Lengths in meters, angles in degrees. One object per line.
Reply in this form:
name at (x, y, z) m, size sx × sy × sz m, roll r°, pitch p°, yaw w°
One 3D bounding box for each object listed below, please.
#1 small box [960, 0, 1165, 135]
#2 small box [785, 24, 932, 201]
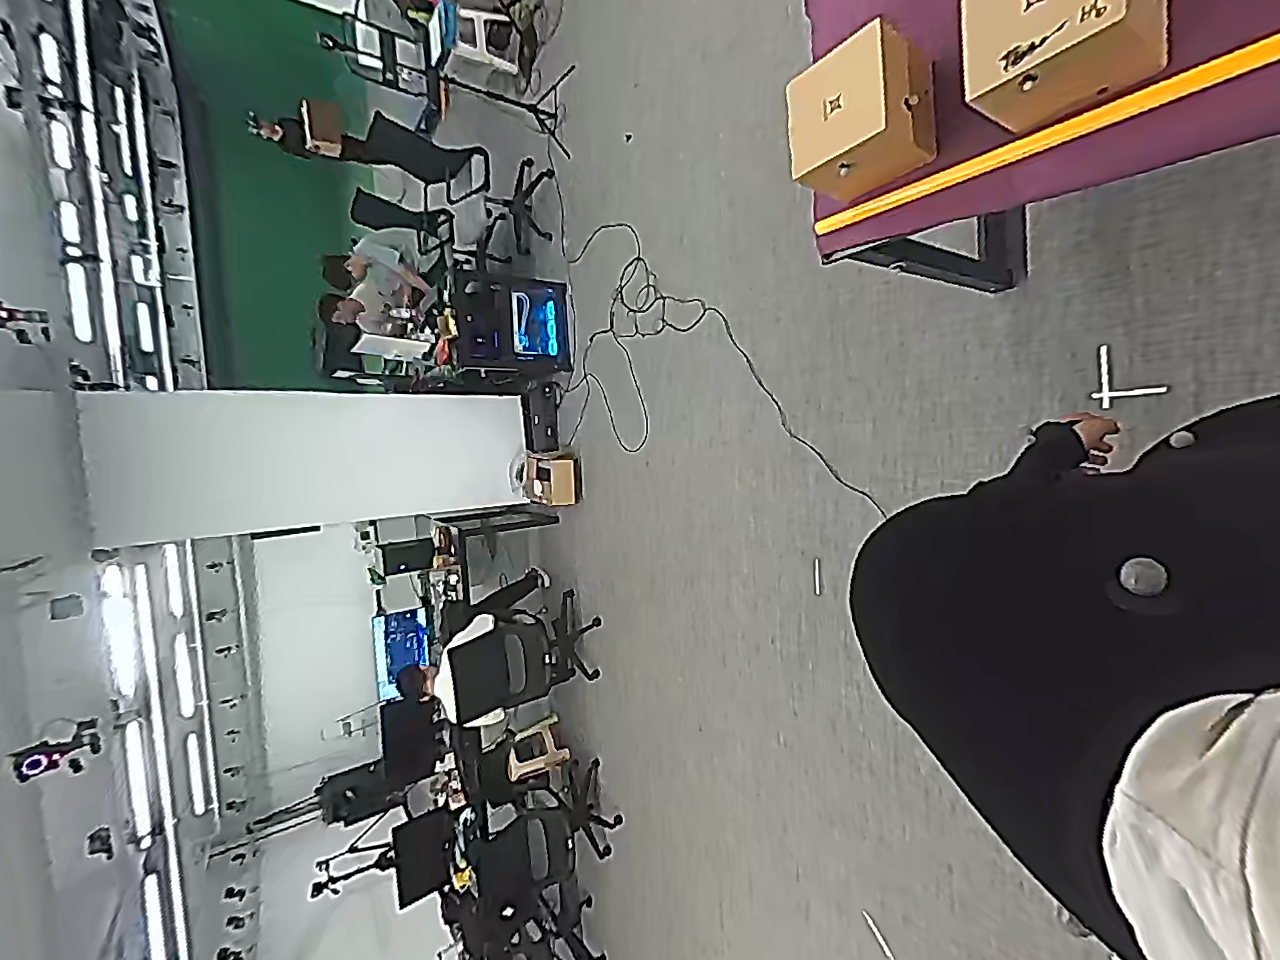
small box at (0.531, -0.583, 0.685) m, size 0.168 × 0.176 × 0.179 m, roll 2°, pitch 96°, yaw 56°
small box at (0.373, -0.602, 0.914) m, size 0.179 × 0.176 × 0.168 m, roll -1°, pitch 94°, yaw 55°
